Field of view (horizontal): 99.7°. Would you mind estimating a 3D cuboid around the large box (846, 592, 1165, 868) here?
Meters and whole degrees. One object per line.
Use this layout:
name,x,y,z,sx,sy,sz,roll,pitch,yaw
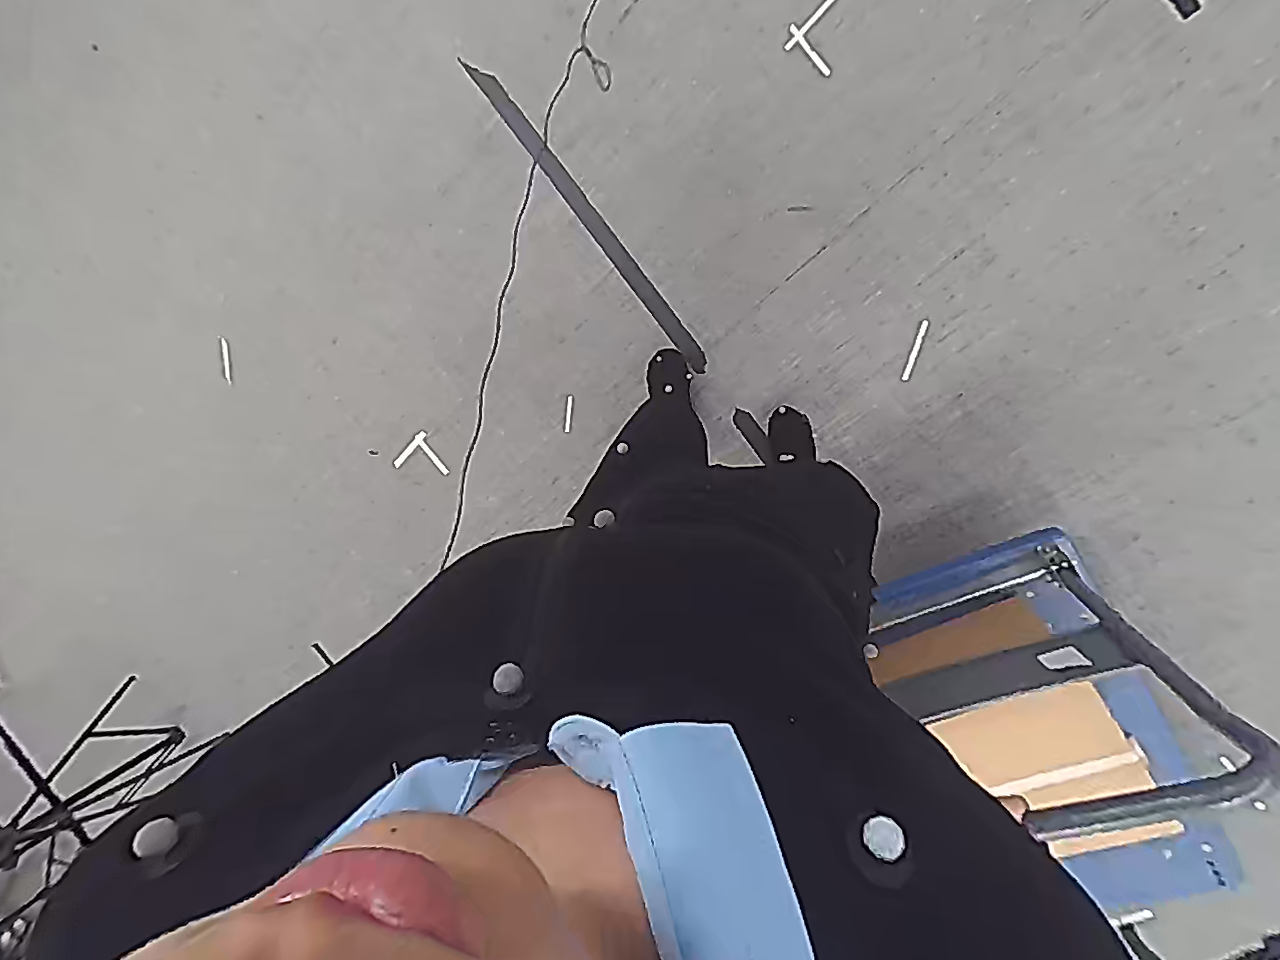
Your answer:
large box,0.686,0.493,1.103,0.408,0.320,0.320,-33,91,23
